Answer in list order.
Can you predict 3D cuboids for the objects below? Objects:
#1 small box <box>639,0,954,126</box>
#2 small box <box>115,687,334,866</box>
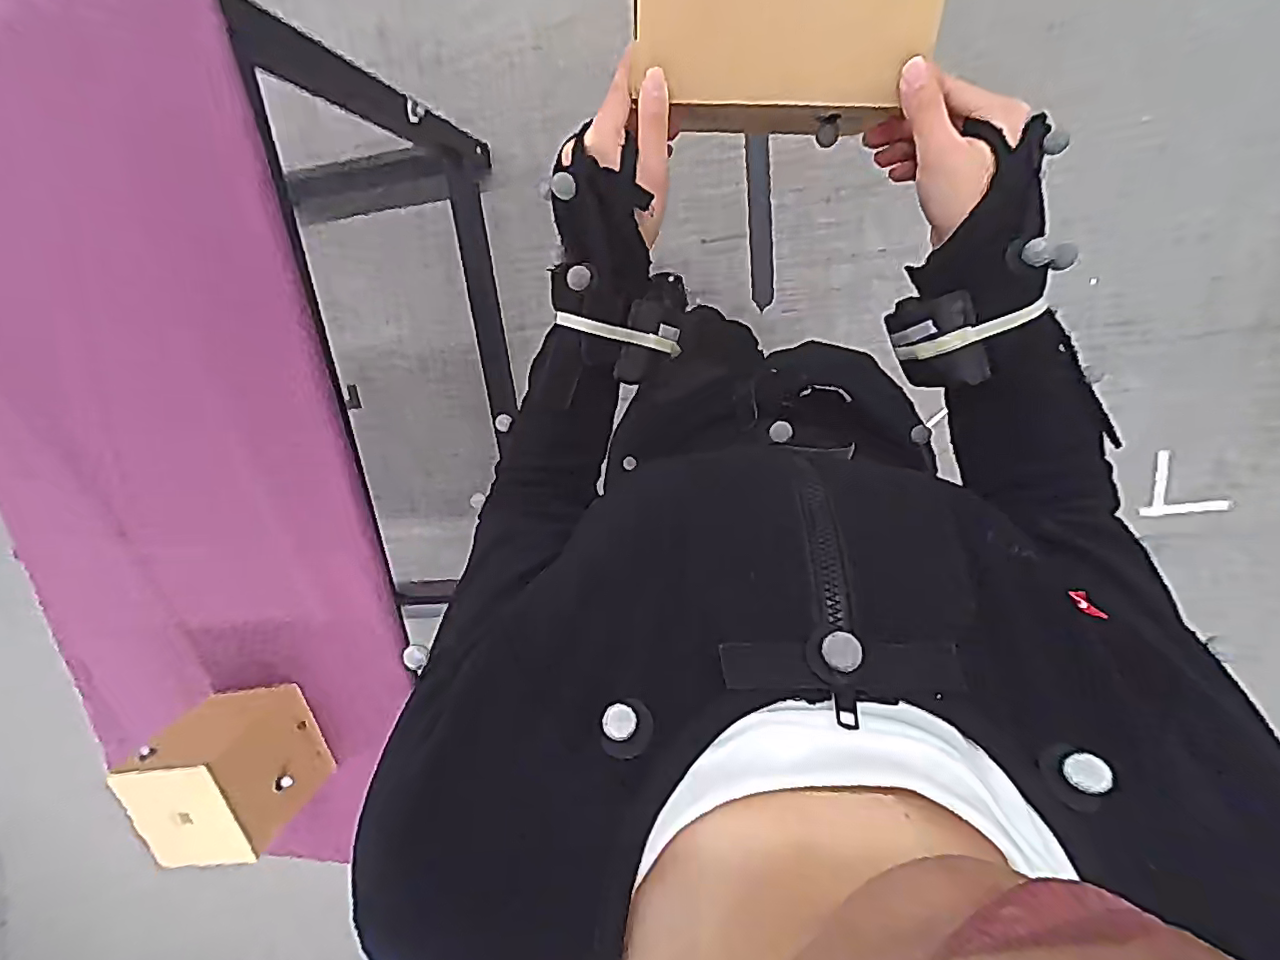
[{"bbox_3d":[0.097,-0.343,0.357,0.179,0.176,0.168,5,118,5],"label":"small box"},{"bbox_3d":[-0.598,0.433,0.809,0.179,0.176,0.168,-12,105,13],"label":"small box"}]
